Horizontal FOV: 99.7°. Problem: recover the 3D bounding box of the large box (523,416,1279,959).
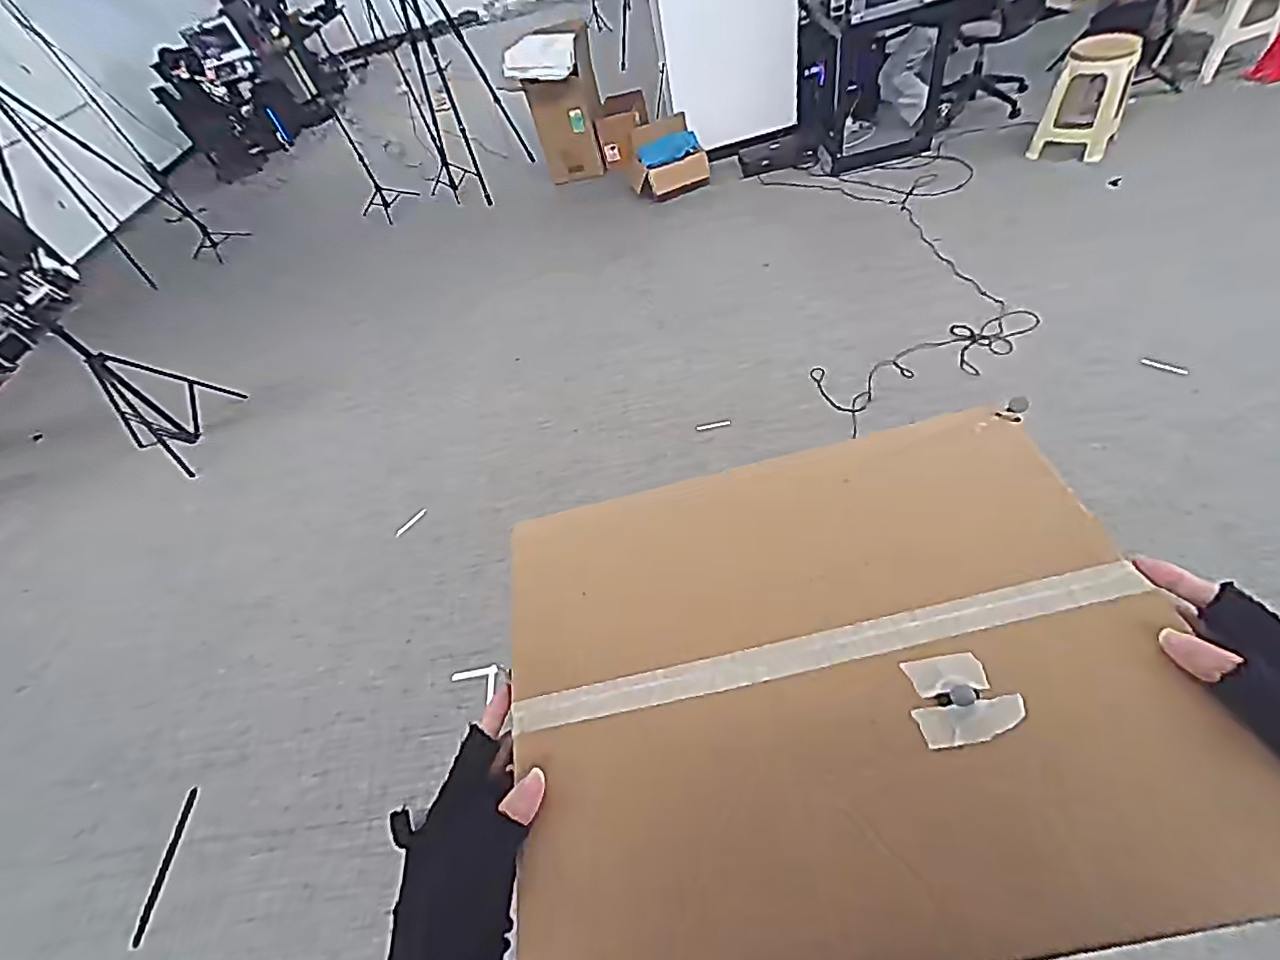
[{"bbox_3d":[0.143,0.200,0.478,0.408,0.320,0.320,-14,53,3],"label":"large box"}]
